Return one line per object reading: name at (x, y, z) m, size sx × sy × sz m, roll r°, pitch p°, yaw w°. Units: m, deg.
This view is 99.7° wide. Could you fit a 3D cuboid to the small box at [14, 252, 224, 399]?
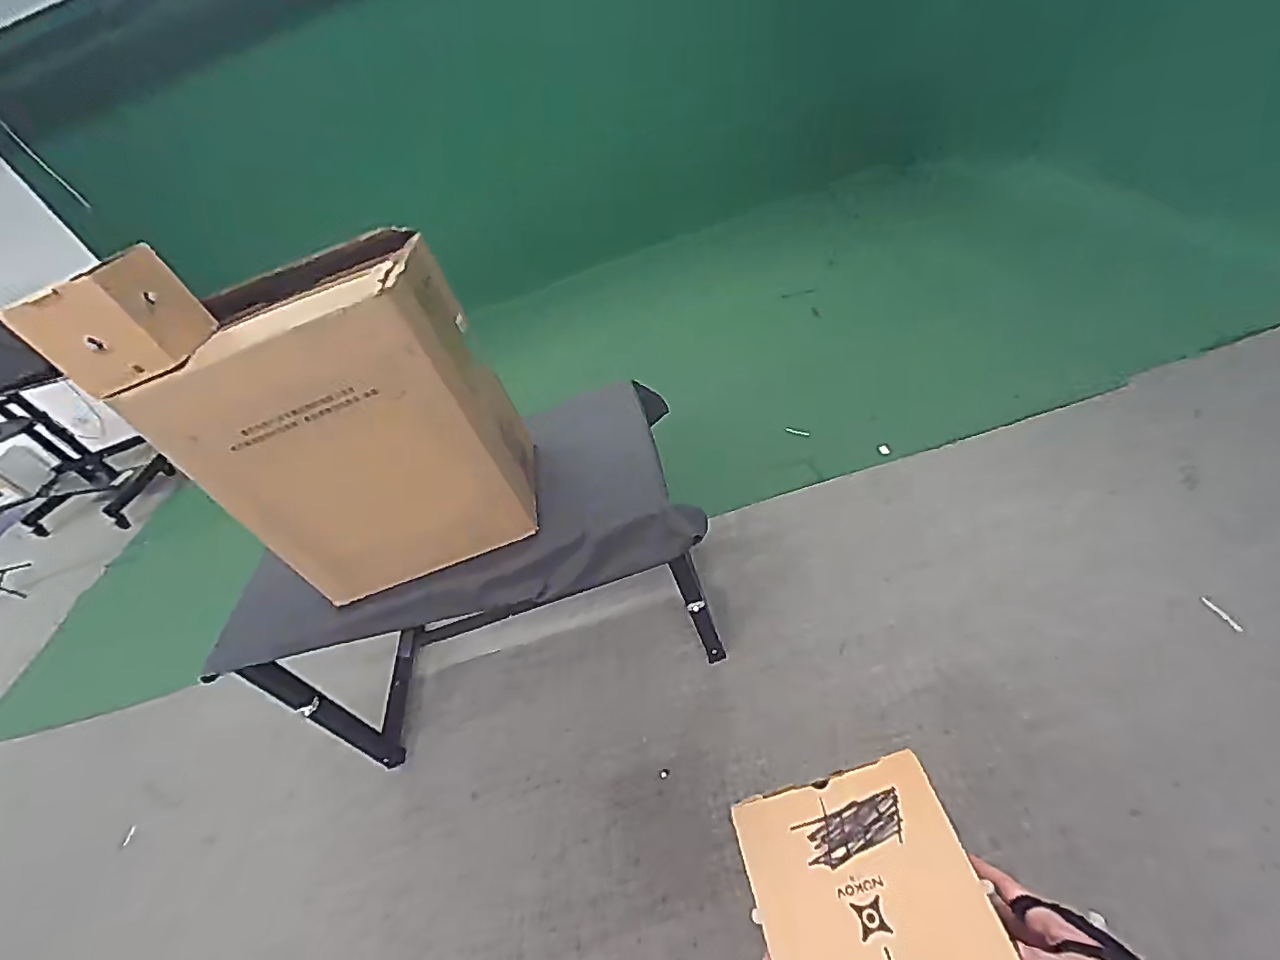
small box at (-0.889, -0.263, 0.948) m, size 0.168 × 0.176 × 0.179 m, roll -21°, pitch 40°, yaw 4°
